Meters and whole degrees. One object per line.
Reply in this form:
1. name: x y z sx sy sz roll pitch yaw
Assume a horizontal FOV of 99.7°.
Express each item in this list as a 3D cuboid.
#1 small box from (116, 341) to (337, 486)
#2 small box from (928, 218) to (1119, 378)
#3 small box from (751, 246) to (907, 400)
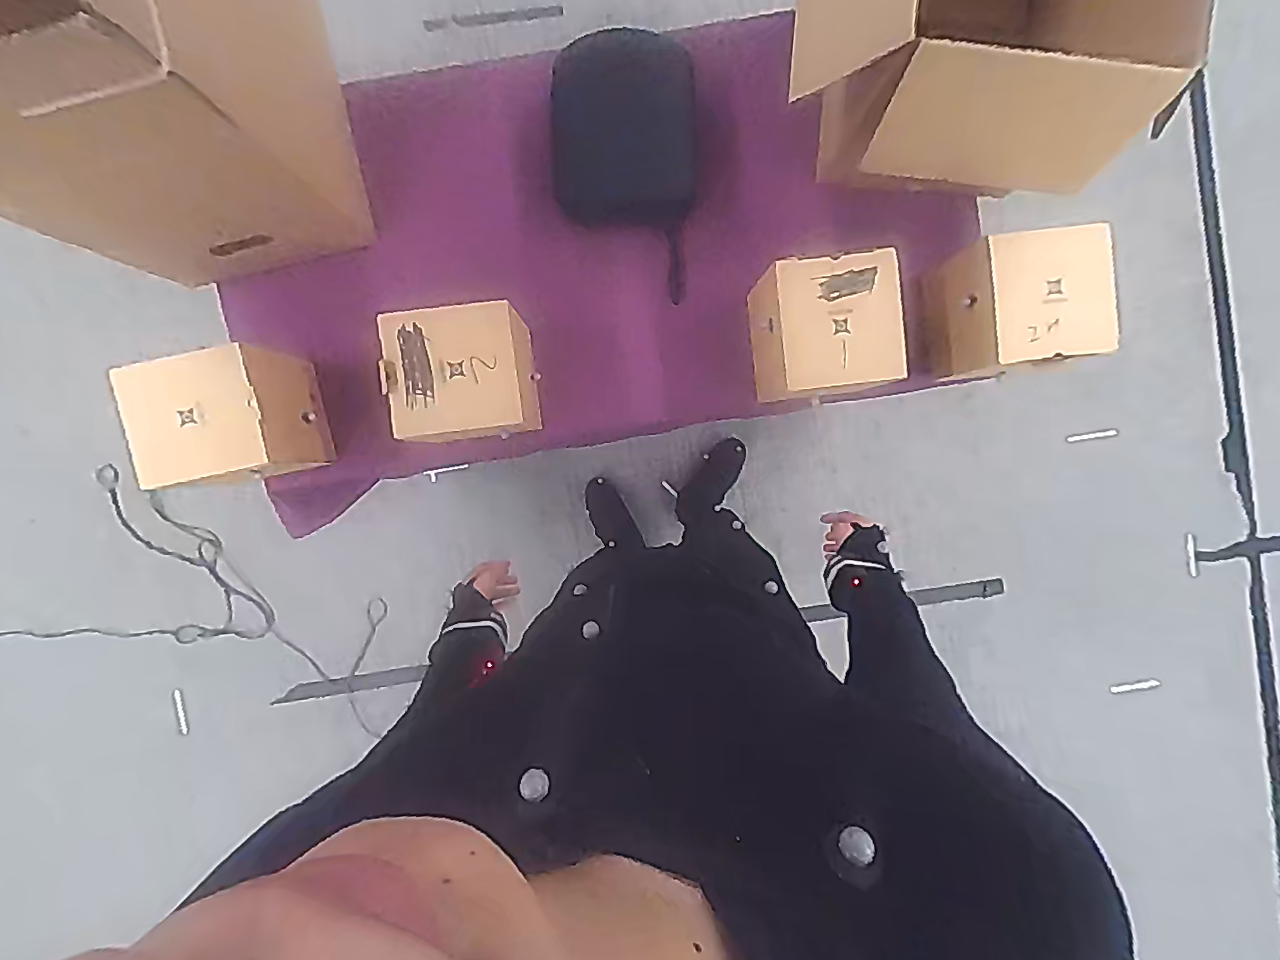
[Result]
1. small box: -0.588 -0.089 0.792 0.179 0.176 0.168 -13 93 -2
2. small box: 0.549 -0.257 0.798 0.168 0.176 0.179 -6 93 0
3. small box: 0.267 -0.221 0.798 0.168 0.176 0.179 -7 94 0
